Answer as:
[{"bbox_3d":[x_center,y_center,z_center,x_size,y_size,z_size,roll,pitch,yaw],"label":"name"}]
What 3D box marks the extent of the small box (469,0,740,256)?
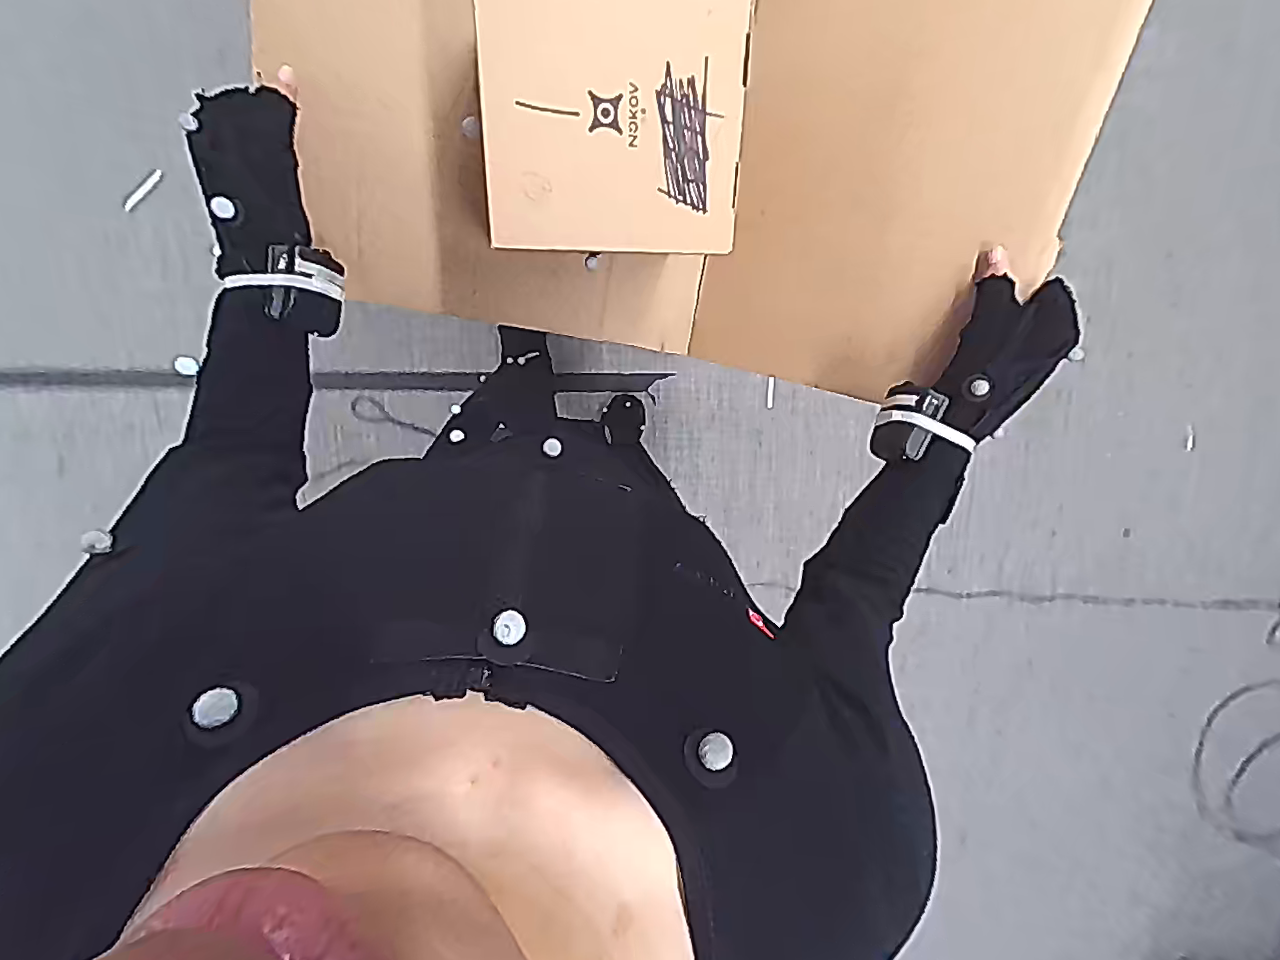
[{"bbox_3d":[-0.038,-0.272,0.436,0.179,0.176,0.168,-5,113,-12],"label":"small box"}]
